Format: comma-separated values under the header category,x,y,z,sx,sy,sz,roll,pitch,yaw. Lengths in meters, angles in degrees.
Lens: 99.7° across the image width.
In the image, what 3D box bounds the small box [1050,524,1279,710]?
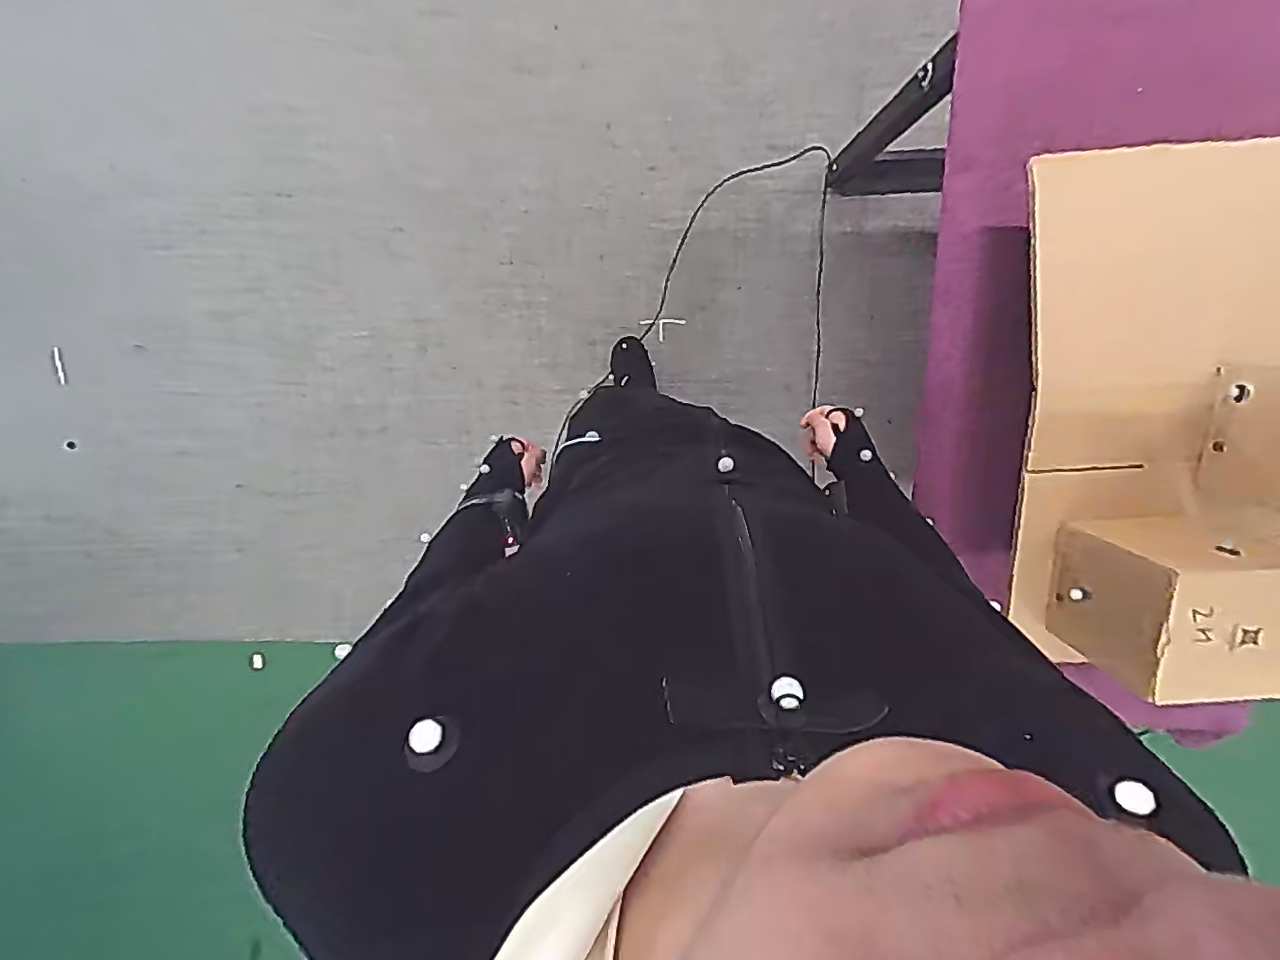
category,x,y,z,sx,sy,sz,roll,pitch,yaw
small box,0.664,0.158,0.668,0.179,0.176,0.168,-3,103,1

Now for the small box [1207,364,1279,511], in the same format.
category,x,y,z,sx,sy,sz,roll,pitch,yaw
small box,0.822,-0.045,0.615,0.179,0.176,0.168,-4,105,0
